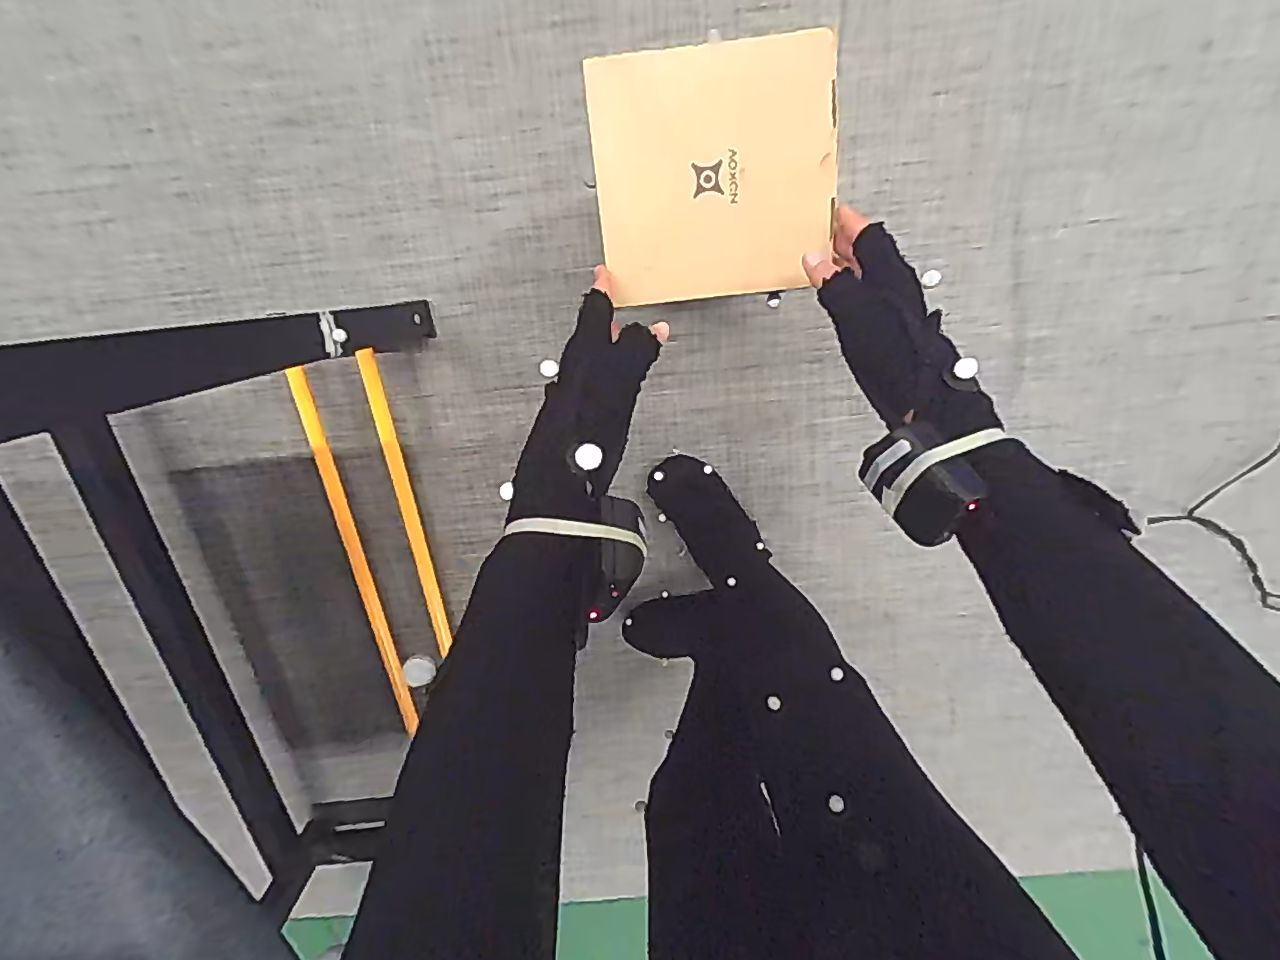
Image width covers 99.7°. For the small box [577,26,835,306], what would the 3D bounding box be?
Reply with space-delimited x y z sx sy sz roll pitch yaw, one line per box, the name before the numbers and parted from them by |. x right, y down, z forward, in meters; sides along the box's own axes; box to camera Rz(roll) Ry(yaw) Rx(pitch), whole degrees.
small box | 0.053 -0.244 0.463 0.179 0.176 0.168 -5 111 3
